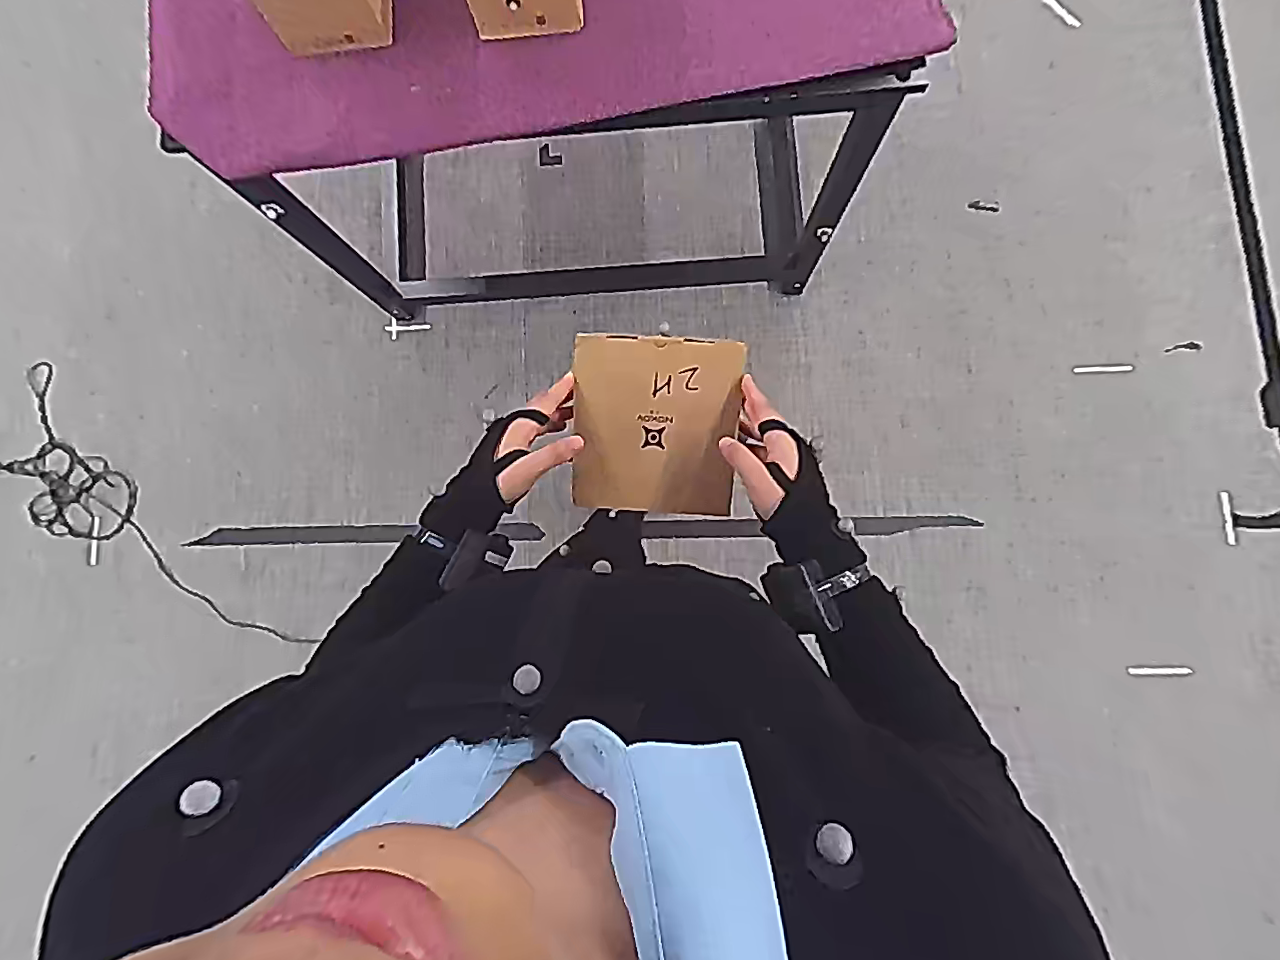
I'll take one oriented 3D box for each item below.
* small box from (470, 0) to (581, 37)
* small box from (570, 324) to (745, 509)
[{"bbox_3d":[-0.180,-0.798,0.784,0.168,0.176,0.179,-3,84,2],"label":"small box"},{"bbox_3d":[0.020,-0.081,0.611,0.168,0.176,0.179,4,105,3],"label":"small box"}]
